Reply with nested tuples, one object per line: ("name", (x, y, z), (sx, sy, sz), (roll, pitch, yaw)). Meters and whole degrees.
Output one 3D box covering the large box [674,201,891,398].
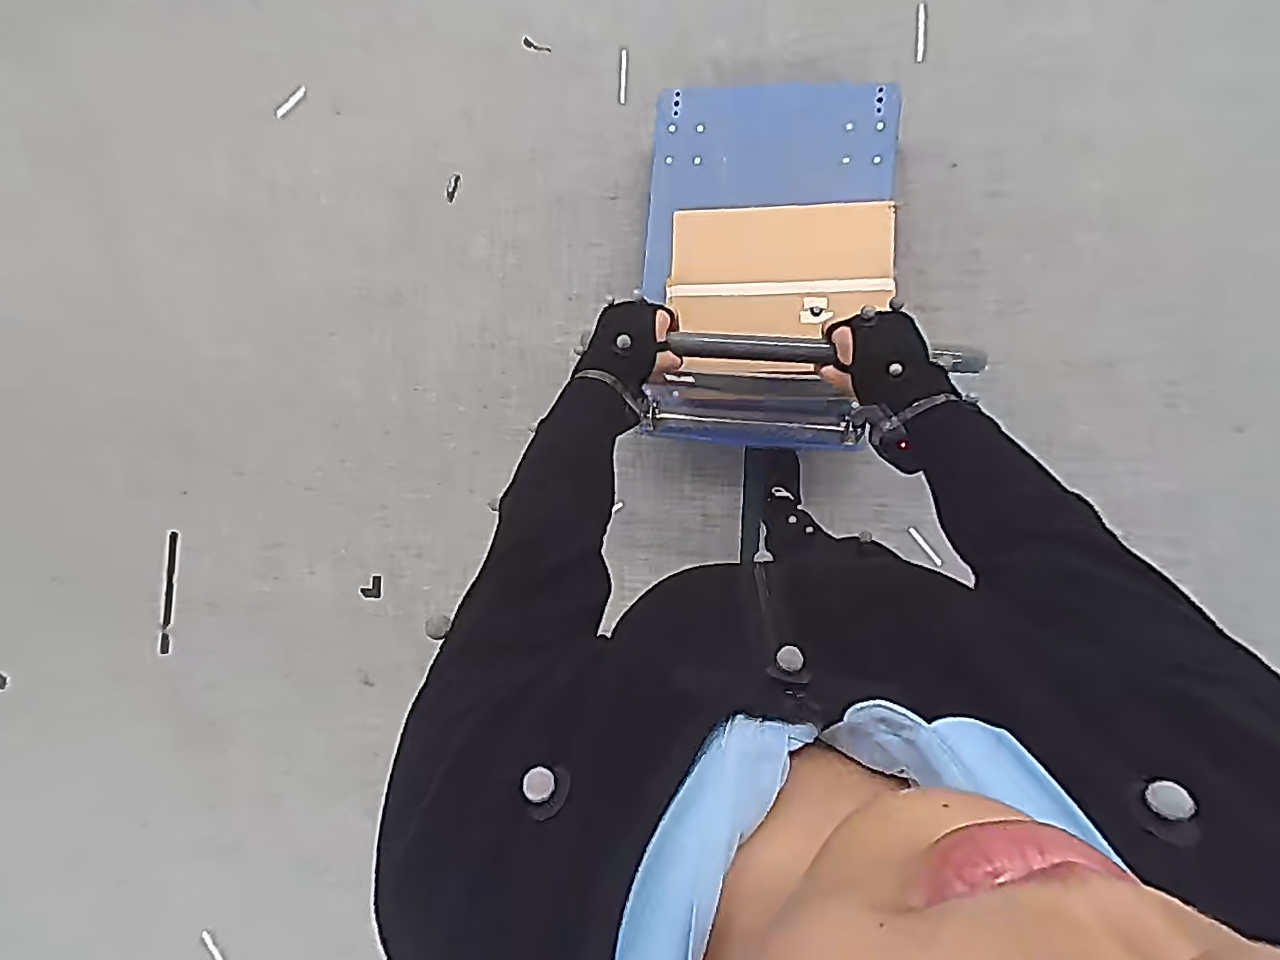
("large box", (0.282, -0.359, 1.166), (0.408, 0.320, 0.320), (1, 89, 8))
